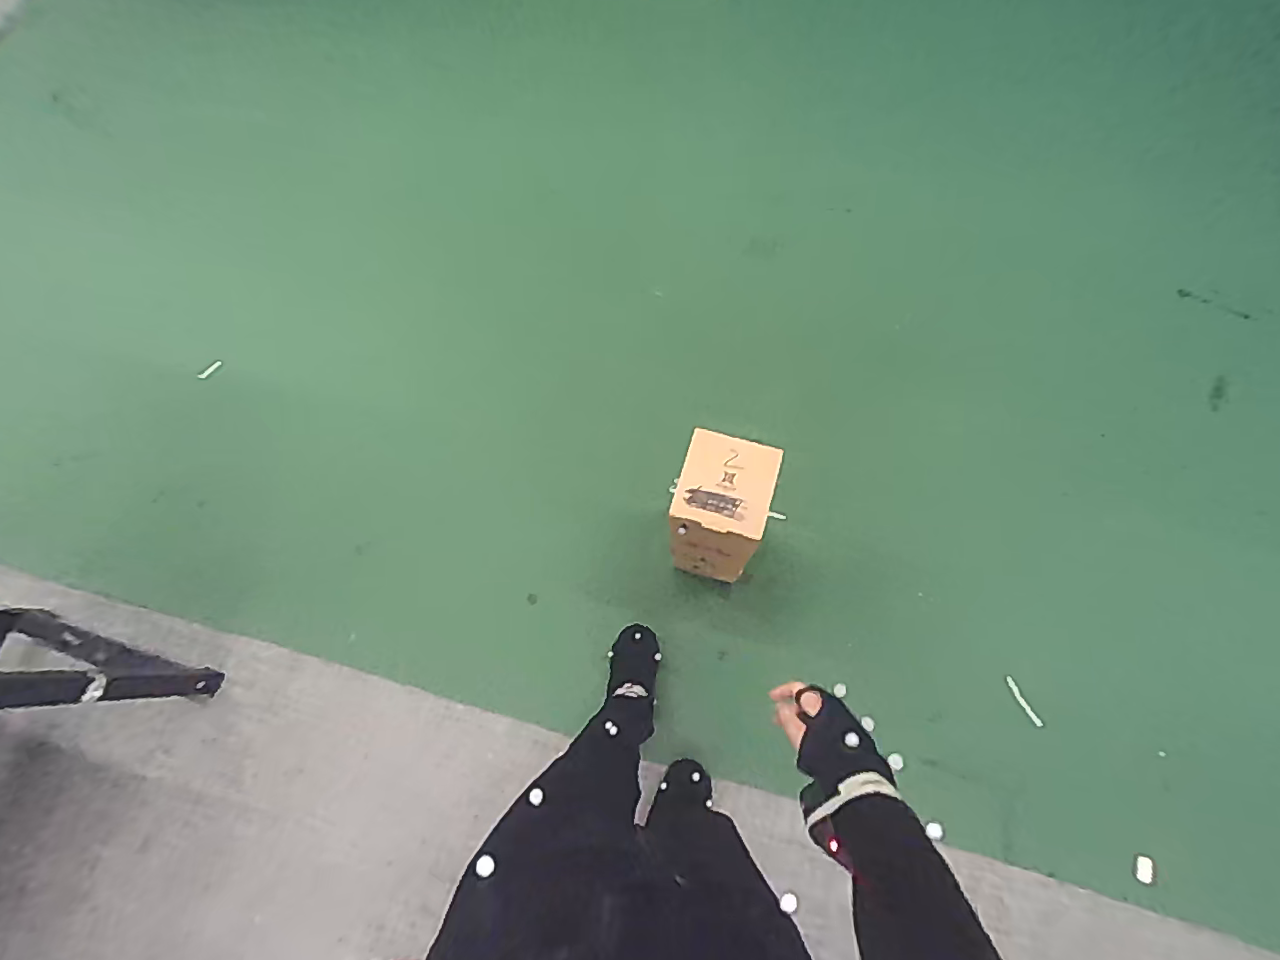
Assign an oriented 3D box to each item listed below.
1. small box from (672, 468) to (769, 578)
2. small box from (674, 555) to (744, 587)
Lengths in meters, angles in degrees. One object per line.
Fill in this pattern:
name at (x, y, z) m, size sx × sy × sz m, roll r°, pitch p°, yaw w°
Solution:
small box at (0.171, 0.098, 1.180) m, size 0.168 × 0.176 × 0.179 m, roll 15°, pitch 72°, yaw 10°
small box at (0.186, 0.154, 1.335) m, size 0.168 × 0.176 × 0.179 m, roll 13°, pitch 71°, yaw 9°
